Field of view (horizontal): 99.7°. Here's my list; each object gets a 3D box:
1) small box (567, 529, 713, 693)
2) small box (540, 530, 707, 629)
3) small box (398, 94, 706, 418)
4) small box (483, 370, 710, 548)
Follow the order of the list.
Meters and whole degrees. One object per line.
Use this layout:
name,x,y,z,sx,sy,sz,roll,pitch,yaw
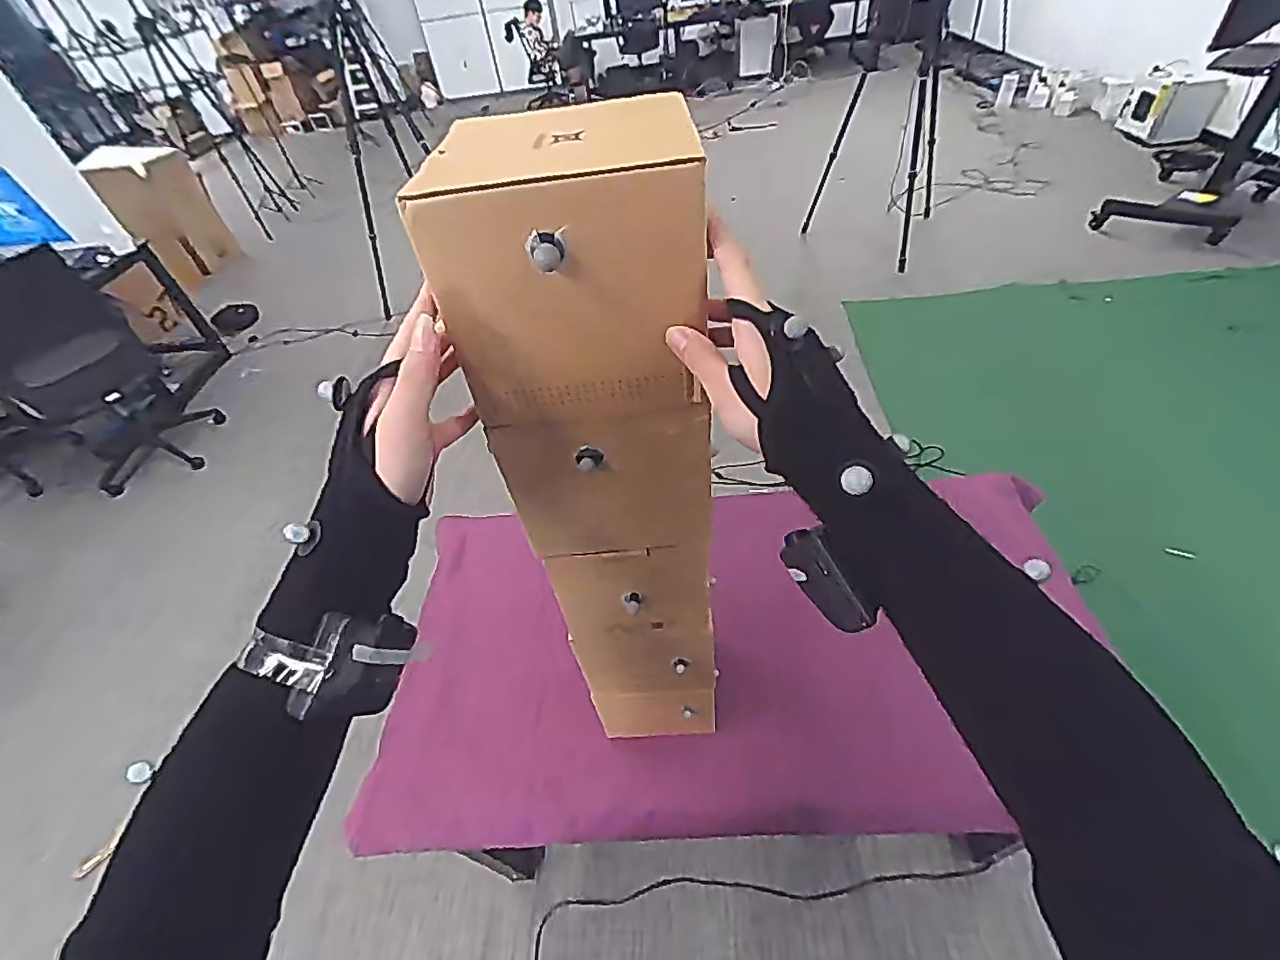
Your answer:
small box,0.007,0.181,0.753,0.179,0.176,0.168,-5,45,5
small box,-0.011,0.063,0.642,0.168,0.176,0.179,-5,45,3
small box,-0.044,-0.165,0.411,0.179,0.176,0.168,-6,45,4
small box,-0.029,-0.049,0.524,0.179,0.176,0.168,-5,45,3
